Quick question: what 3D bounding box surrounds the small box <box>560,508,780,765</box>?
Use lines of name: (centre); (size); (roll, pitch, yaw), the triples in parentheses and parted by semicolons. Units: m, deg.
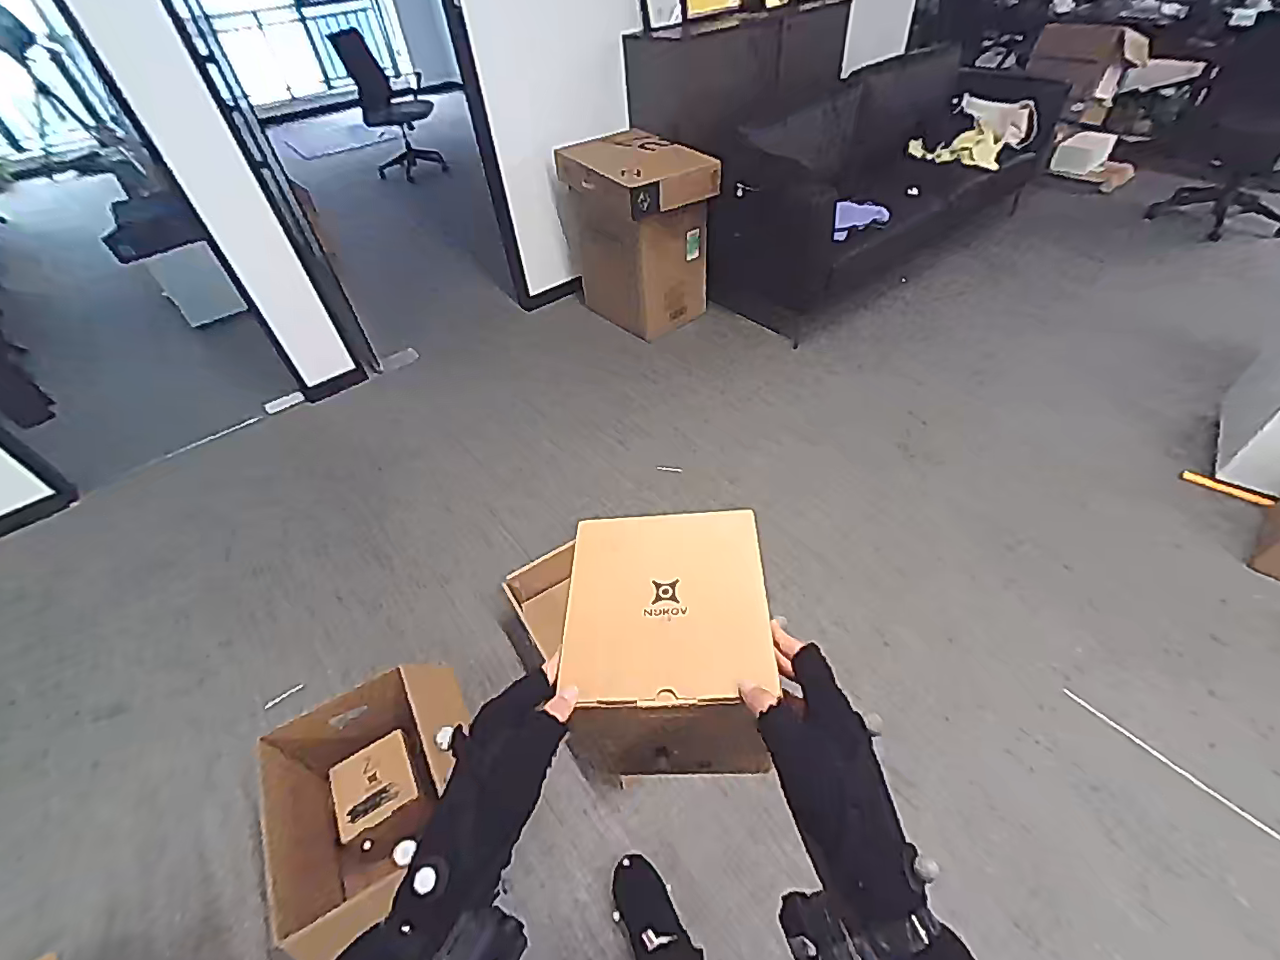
small box: (0.032, 0.148, 0.509); (0.168, 0.176, 0.179); (-5, 46, 6)
